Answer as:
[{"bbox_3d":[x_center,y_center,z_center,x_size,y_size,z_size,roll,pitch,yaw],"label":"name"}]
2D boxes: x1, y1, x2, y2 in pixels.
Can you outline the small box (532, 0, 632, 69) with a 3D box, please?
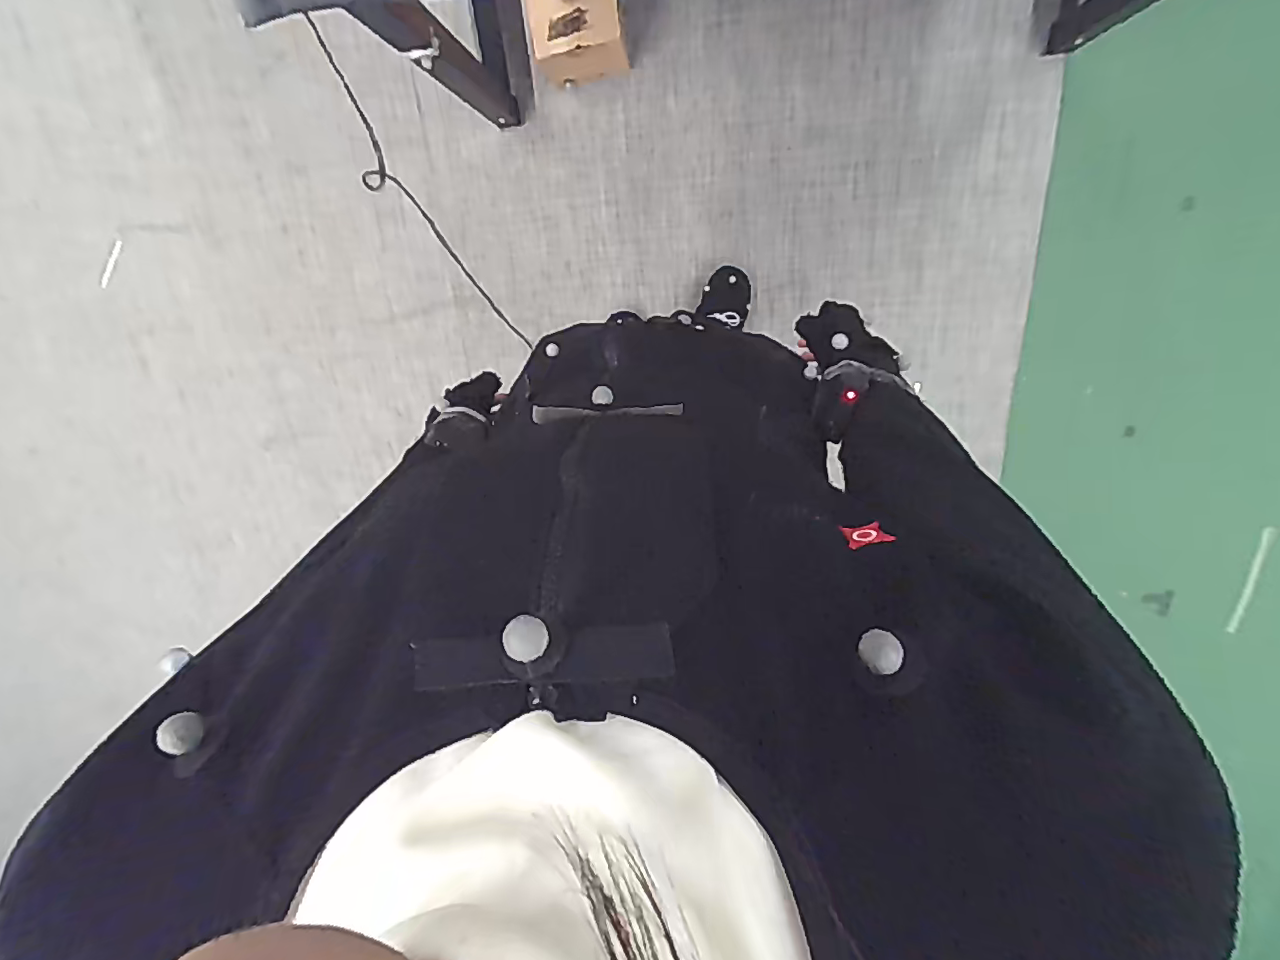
[{"bbox_3d":[-0.112,-0.925,1.040,0.168,0.176,0.179,-6,110,7],"label":"small box"}]
